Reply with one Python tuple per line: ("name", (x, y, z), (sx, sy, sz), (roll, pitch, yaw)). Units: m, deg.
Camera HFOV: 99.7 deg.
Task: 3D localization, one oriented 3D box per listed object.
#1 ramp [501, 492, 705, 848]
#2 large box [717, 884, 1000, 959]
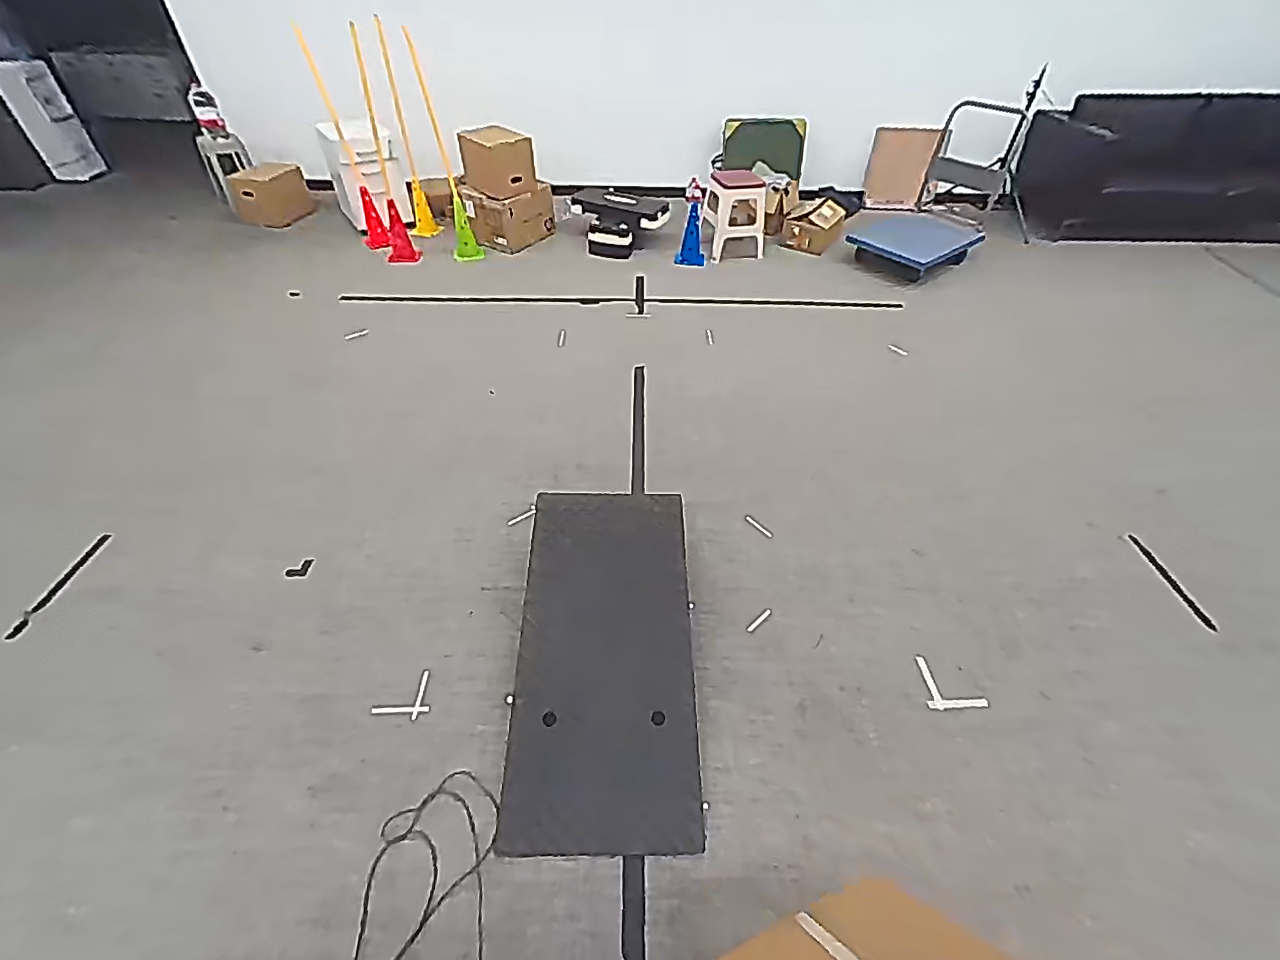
("ramp", (-0.090, 0.457, 1.558), (0.509, 0.206, 0.991), (0, 45, -3))
("large box", (0.334, 0.772, 0.624), (0.320, 0.408, 0.320), (-10, 78, -18))
